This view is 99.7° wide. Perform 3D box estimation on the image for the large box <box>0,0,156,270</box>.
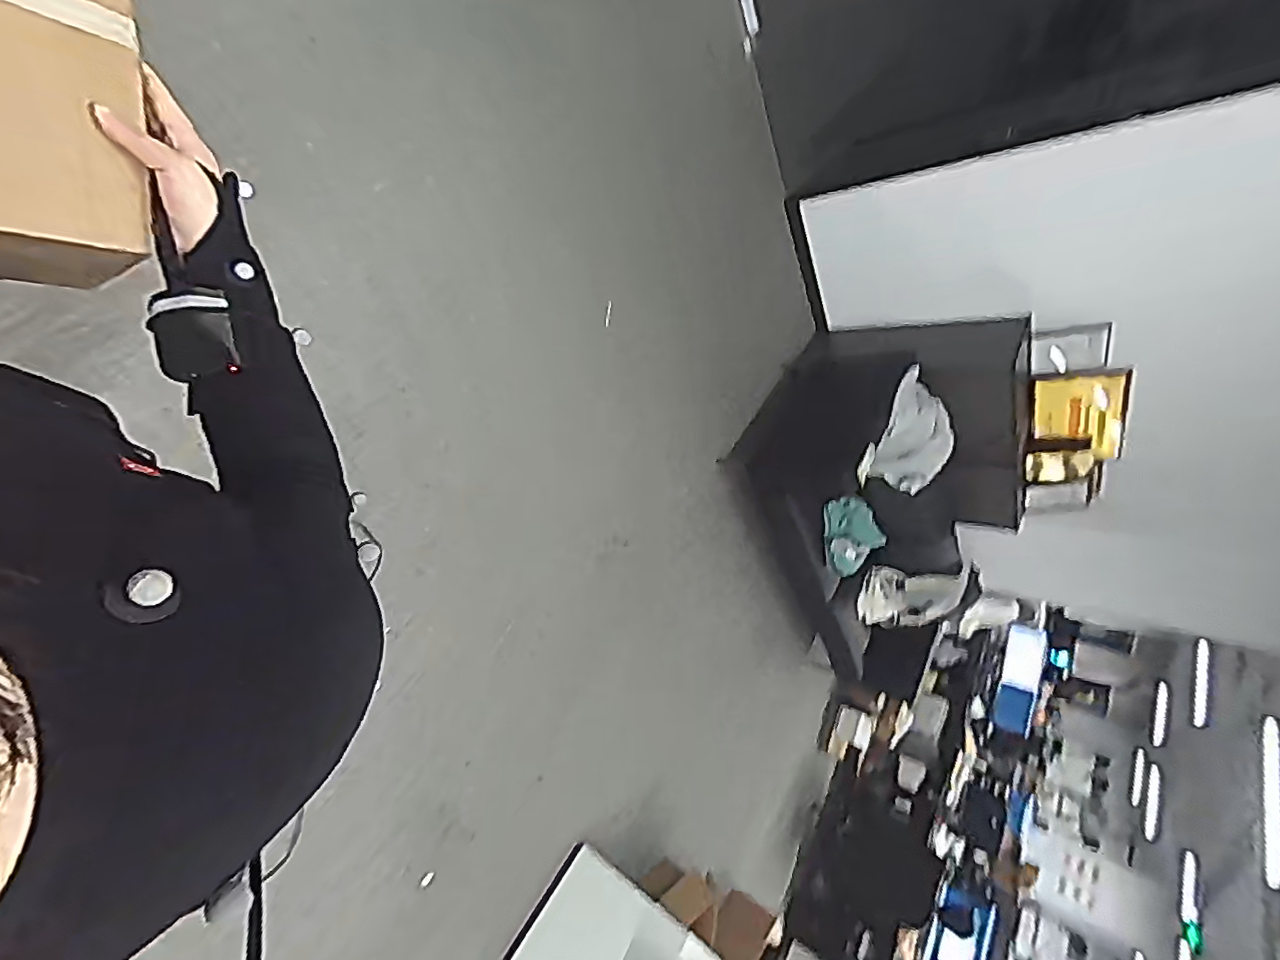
[{"bbox_3d":[-0.624,-0.344,0.345,0.408,0.320,0.320,-9,106,-52],"label":"large box"}]
